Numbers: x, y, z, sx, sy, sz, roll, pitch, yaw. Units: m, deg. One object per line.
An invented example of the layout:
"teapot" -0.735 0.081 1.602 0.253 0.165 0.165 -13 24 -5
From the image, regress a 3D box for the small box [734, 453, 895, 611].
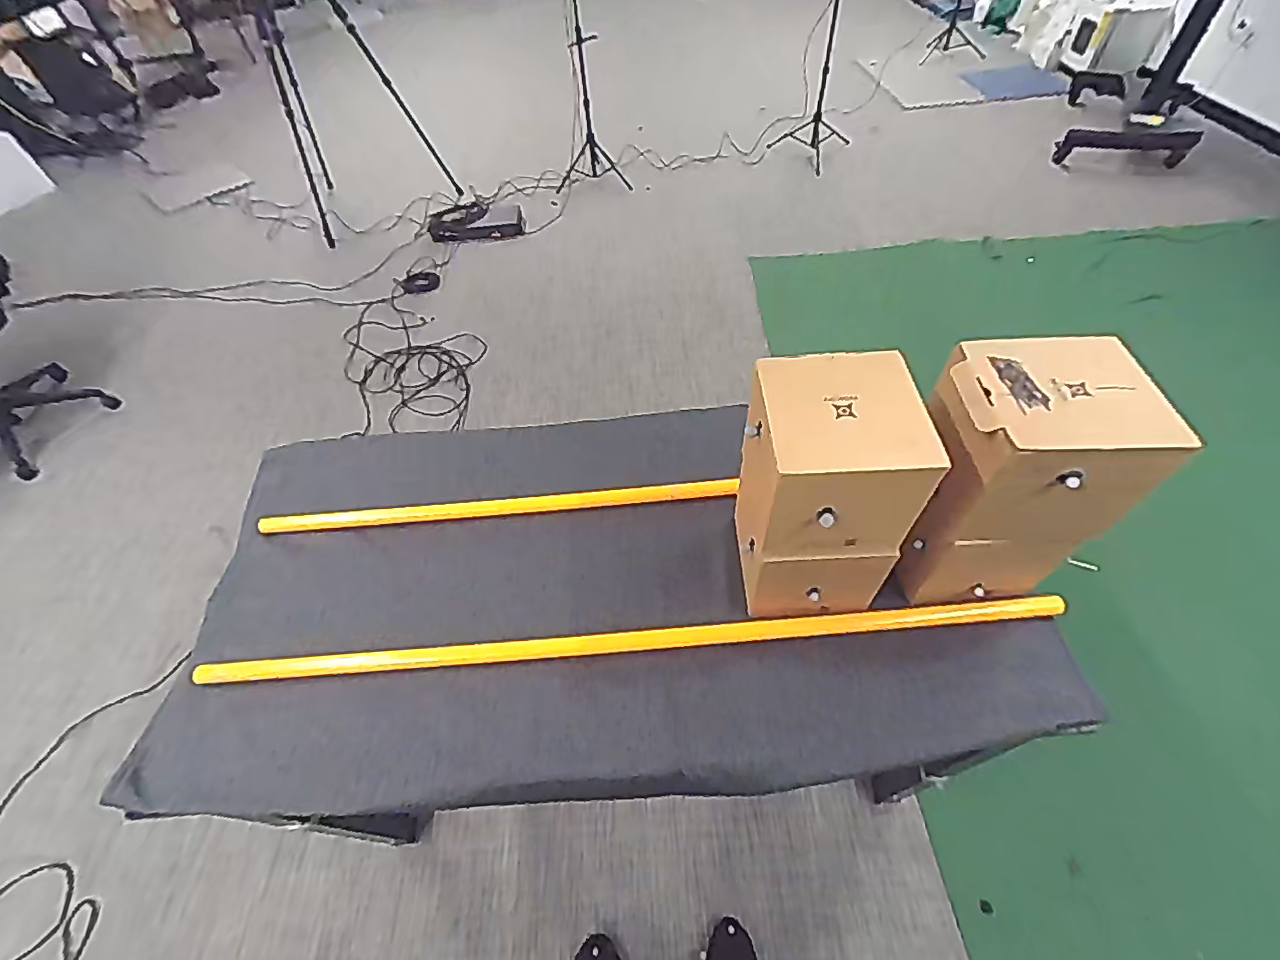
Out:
"small box" 0.228 0.075 0.758 0.168 0.176 0.179 -3 52 2

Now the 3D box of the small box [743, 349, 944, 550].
"small box" 0.217 -0.027 0.632 0.168 0.176 0.179 -3 52 3

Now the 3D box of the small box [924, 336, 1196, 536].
"small box" 0.446 -0.045 0.625 0.179 0.176 0.168 -1 53 3
